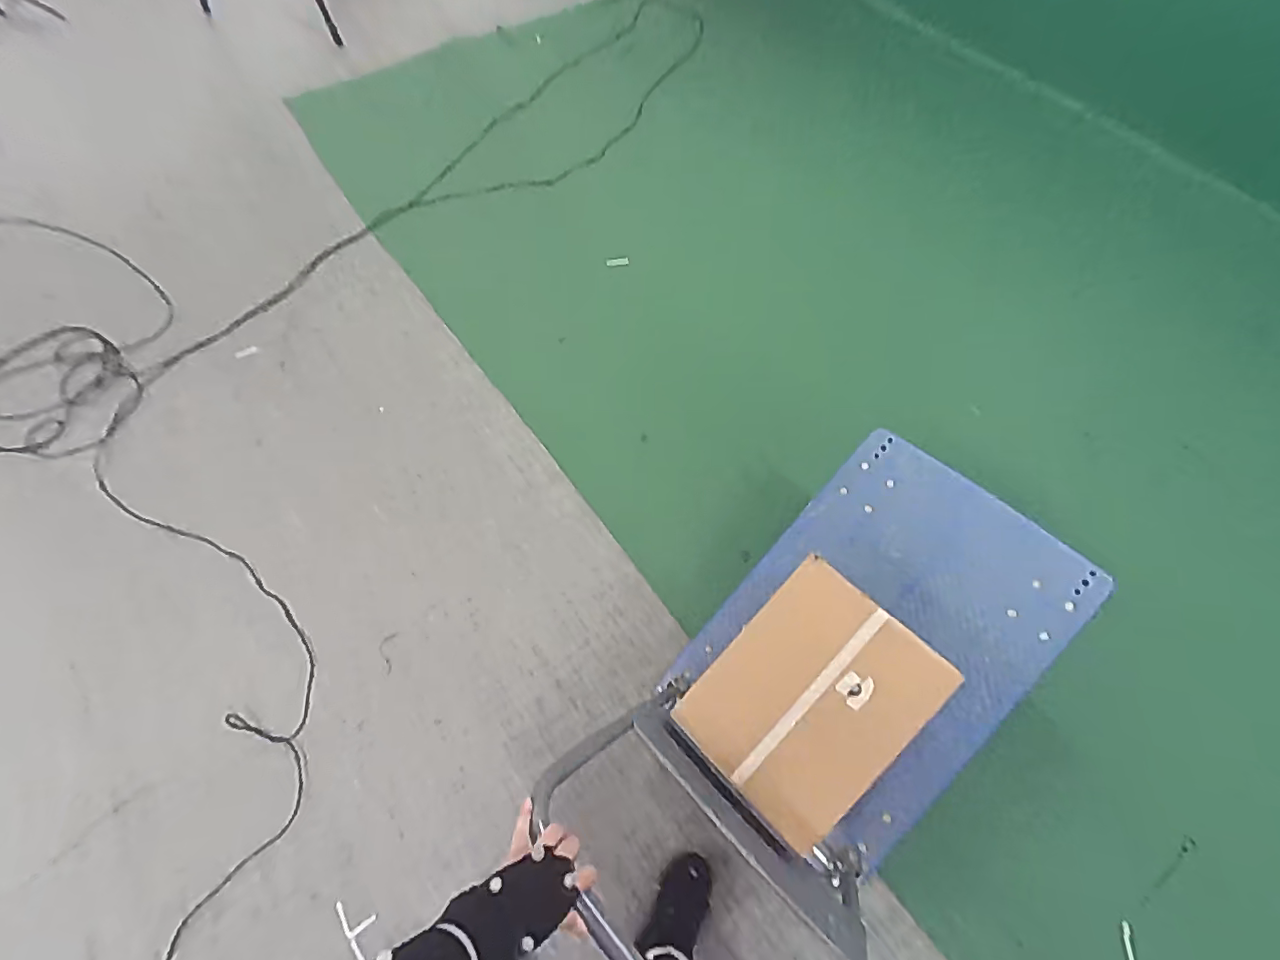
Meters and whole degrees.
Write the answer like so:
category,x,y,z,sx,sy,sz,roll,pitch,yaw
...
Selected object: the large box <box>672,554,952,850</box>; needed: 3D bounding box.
category,x,y,z,sx,sy,sz,roll,pitch,yaw
large box,0.330,0.417,1.093,0.320,0.320,0.408,41,89,22
